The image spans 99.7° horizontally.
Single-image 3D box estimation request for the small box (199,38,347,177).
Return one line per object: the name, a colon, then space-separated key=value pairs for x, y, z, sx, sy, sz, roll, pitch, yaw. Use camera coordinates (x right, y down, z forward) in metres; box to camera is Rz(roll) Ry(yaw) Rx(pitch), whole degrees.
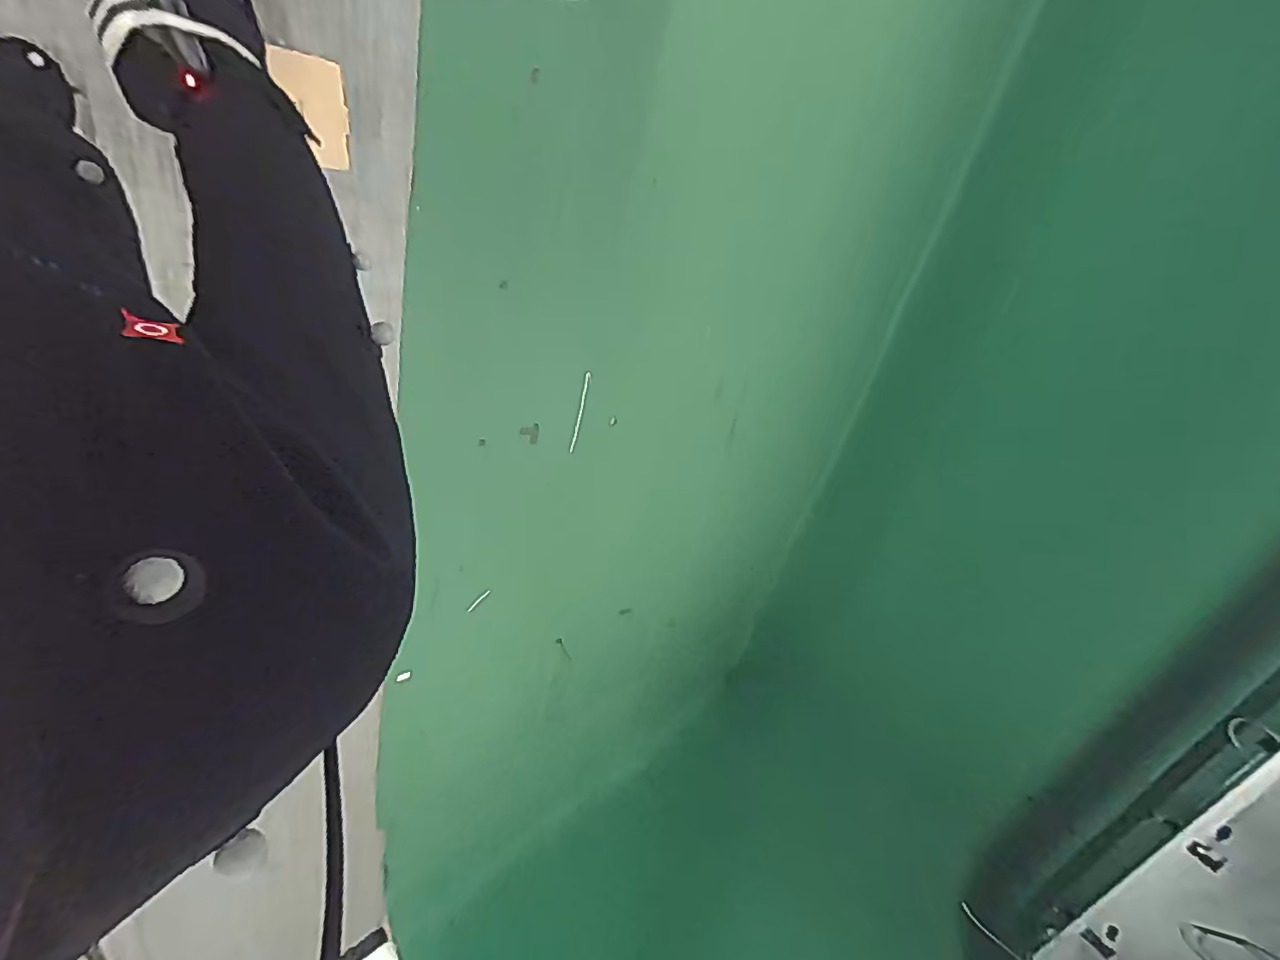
small box: x=-0.645 y=-0.656 z=0.958 sx=0.179 sy=0.176 sz=0.168 roll=-16 pitch=129 yaw=-42
